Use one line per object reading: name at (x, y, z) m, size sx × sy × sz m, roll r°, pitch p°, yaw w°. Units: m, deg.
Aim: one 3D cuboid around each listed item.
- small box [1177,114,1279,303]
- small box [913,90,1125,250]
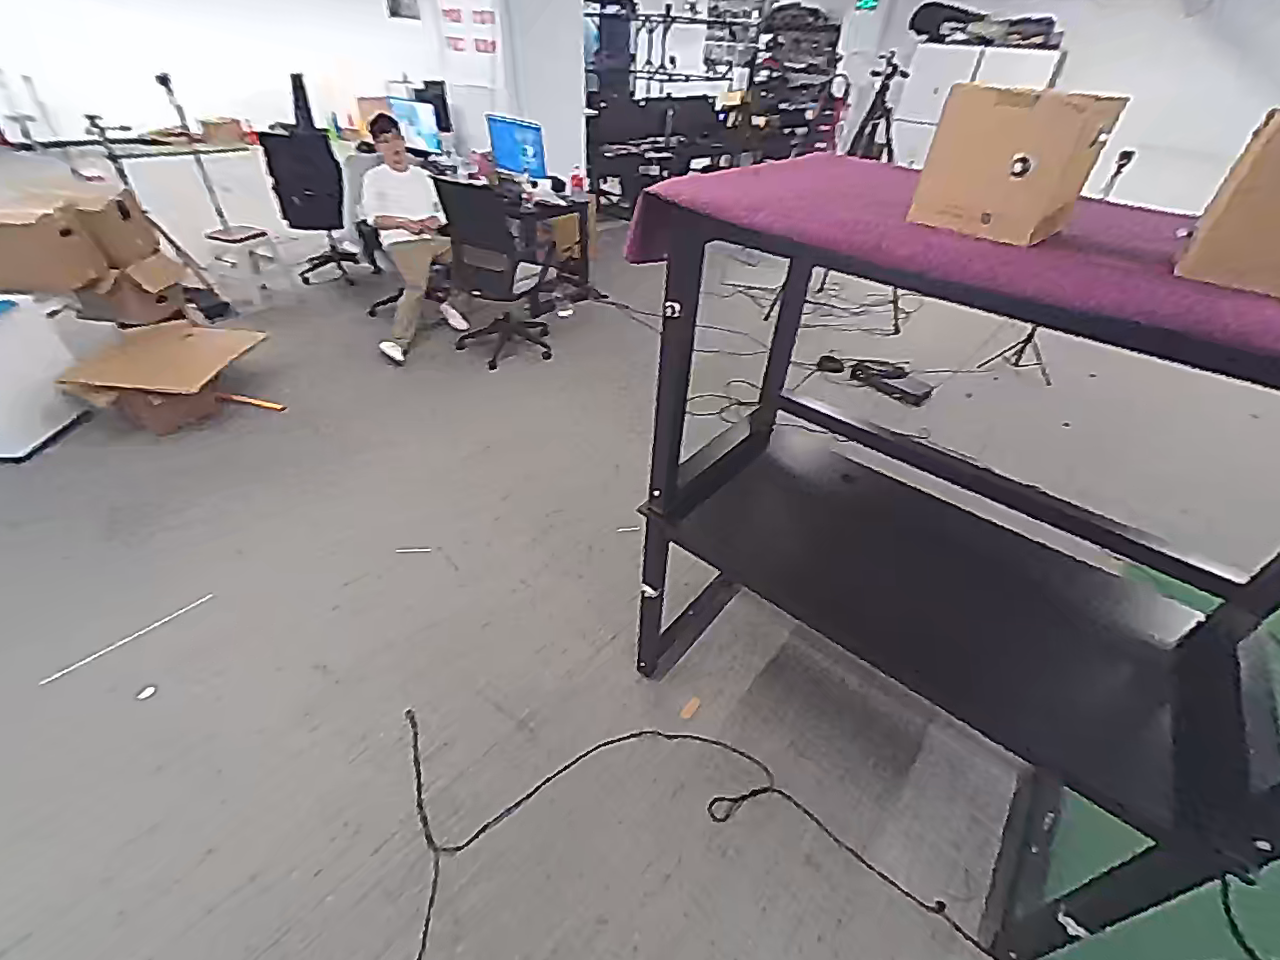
small box at (0.745, -0.294, 0.593) m, size 0.179 × 0.176 × 0.168 m, roll 30°, pitch 44°, yaw 28°
small box at (0.509, -0.429, 0.747) m, size 0.179 × 0.176 × 0.168 m, roll -28°, pitch 49°, yaw -35°
